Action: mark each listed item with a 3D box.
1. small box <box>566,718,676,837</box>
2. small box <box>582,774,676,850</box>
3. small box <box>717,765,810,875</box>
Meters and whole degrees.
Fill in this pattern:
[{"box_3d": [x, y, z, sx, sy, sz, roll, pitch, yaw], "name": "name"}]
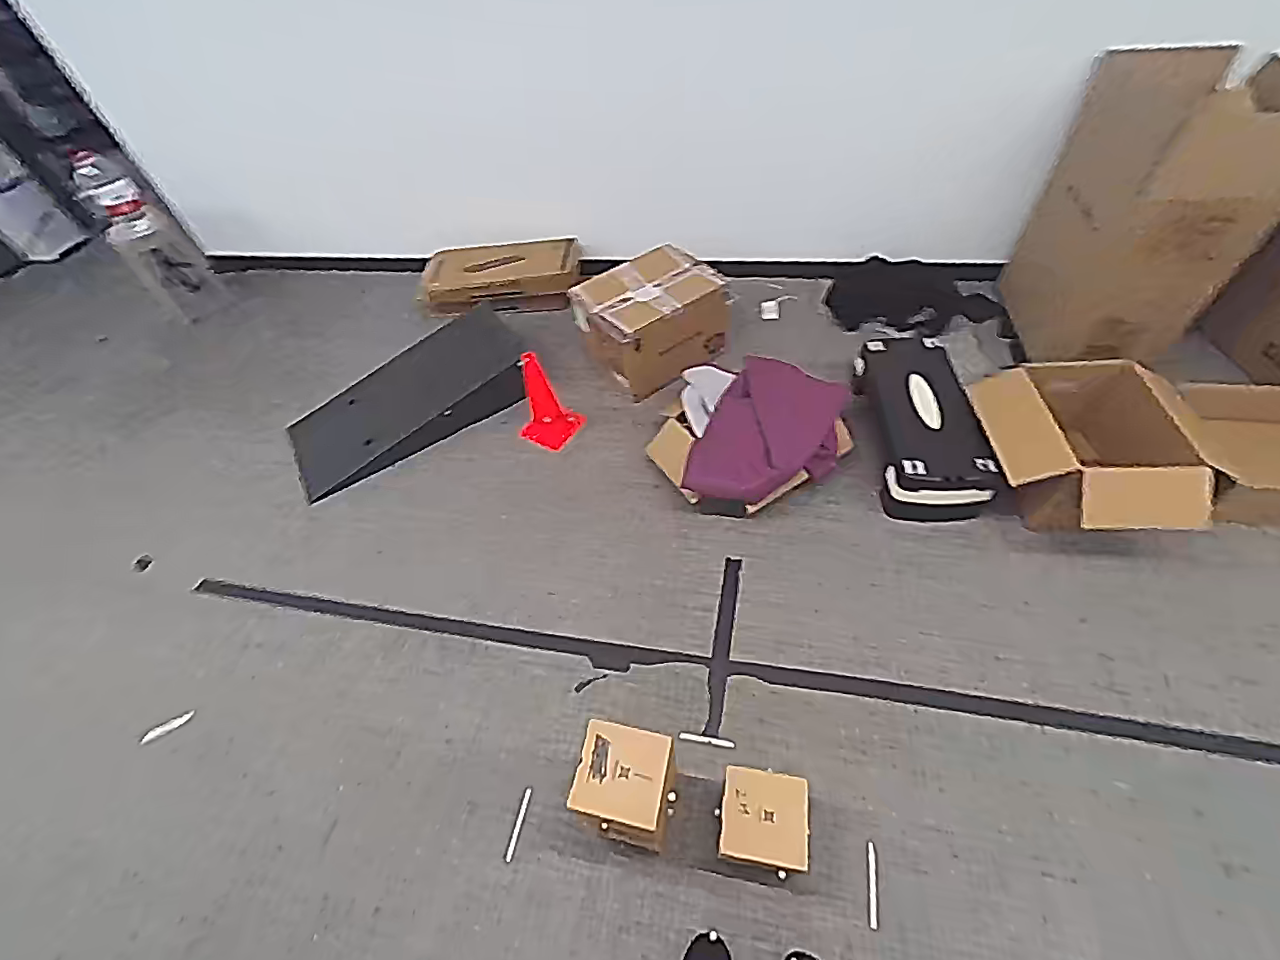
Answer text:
[{"box_3d": [-0.030, 0.610, 1.103, 0.179, 0.176, 0.168, 8, 53, 13], "name": "small box"}, {"box_3d": [-0.016, 0.717, 1.229, 0.168, 0.176, 0.179, 8, 54, 14], "name": "small box"}, {"box_3d": [0.265, 0.740, 1.174, 0.179, 0.176, 0.168, 5, 53, 12], "name": "small box"}]
